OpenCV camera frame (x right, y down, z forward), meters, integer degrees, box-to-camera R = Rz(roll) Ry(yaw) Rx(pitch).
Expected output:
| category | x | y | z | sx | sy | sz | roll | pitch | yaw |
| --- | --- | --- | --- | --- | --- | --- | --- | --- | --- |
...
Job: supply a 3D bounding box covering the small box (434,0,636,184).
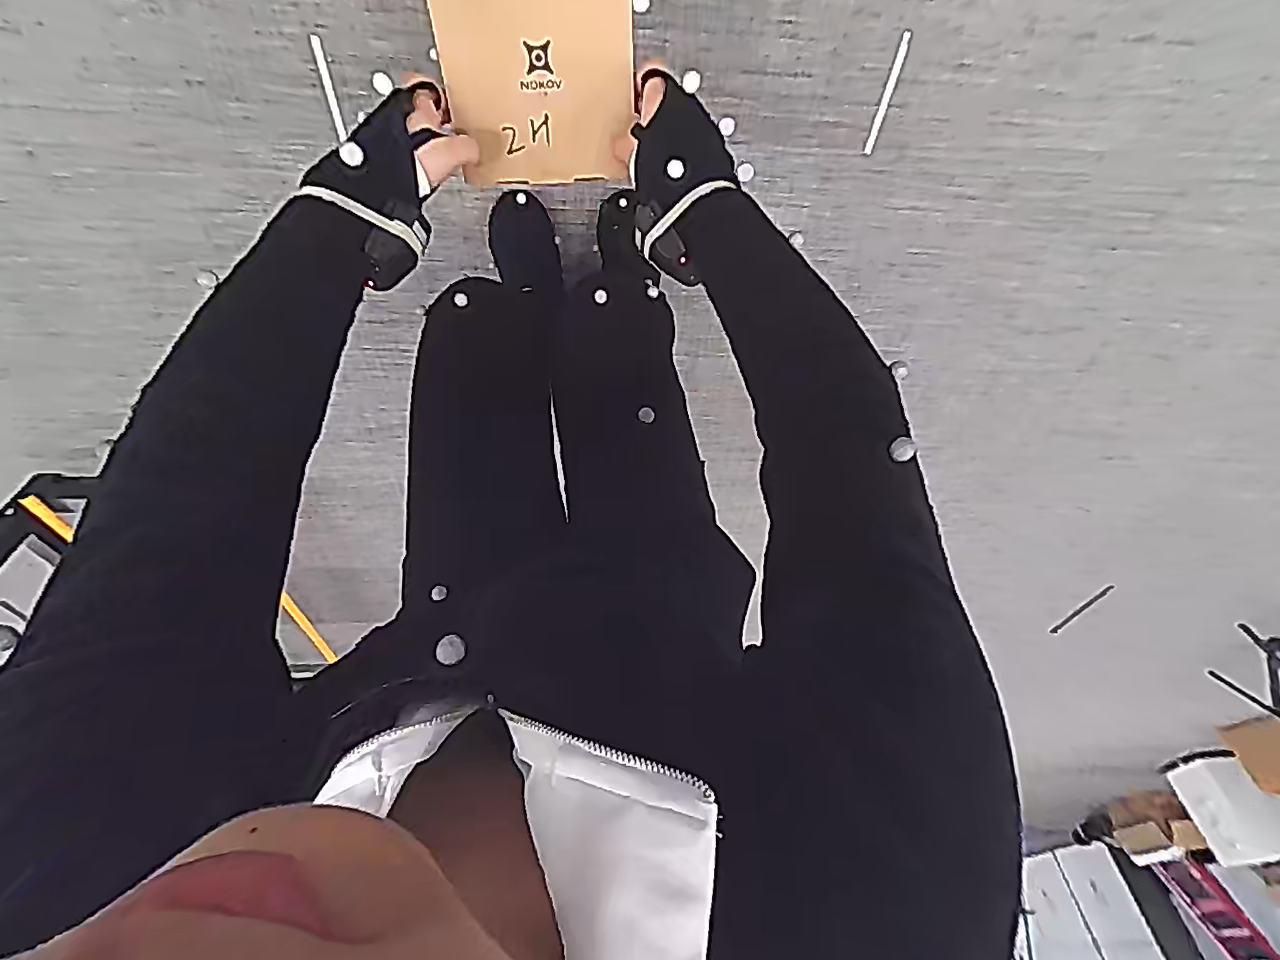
| category | x | y | z | sx | sy | sz | roll | pitch | yaw |
| --- | --- | --- | --- | --- | --- | --- | --- | --- | --- |
| small box | -0.093 | -0.405 | 0.527 | 0.168 | 0.176 | 0.179 | -3 | 132 | -4 |
